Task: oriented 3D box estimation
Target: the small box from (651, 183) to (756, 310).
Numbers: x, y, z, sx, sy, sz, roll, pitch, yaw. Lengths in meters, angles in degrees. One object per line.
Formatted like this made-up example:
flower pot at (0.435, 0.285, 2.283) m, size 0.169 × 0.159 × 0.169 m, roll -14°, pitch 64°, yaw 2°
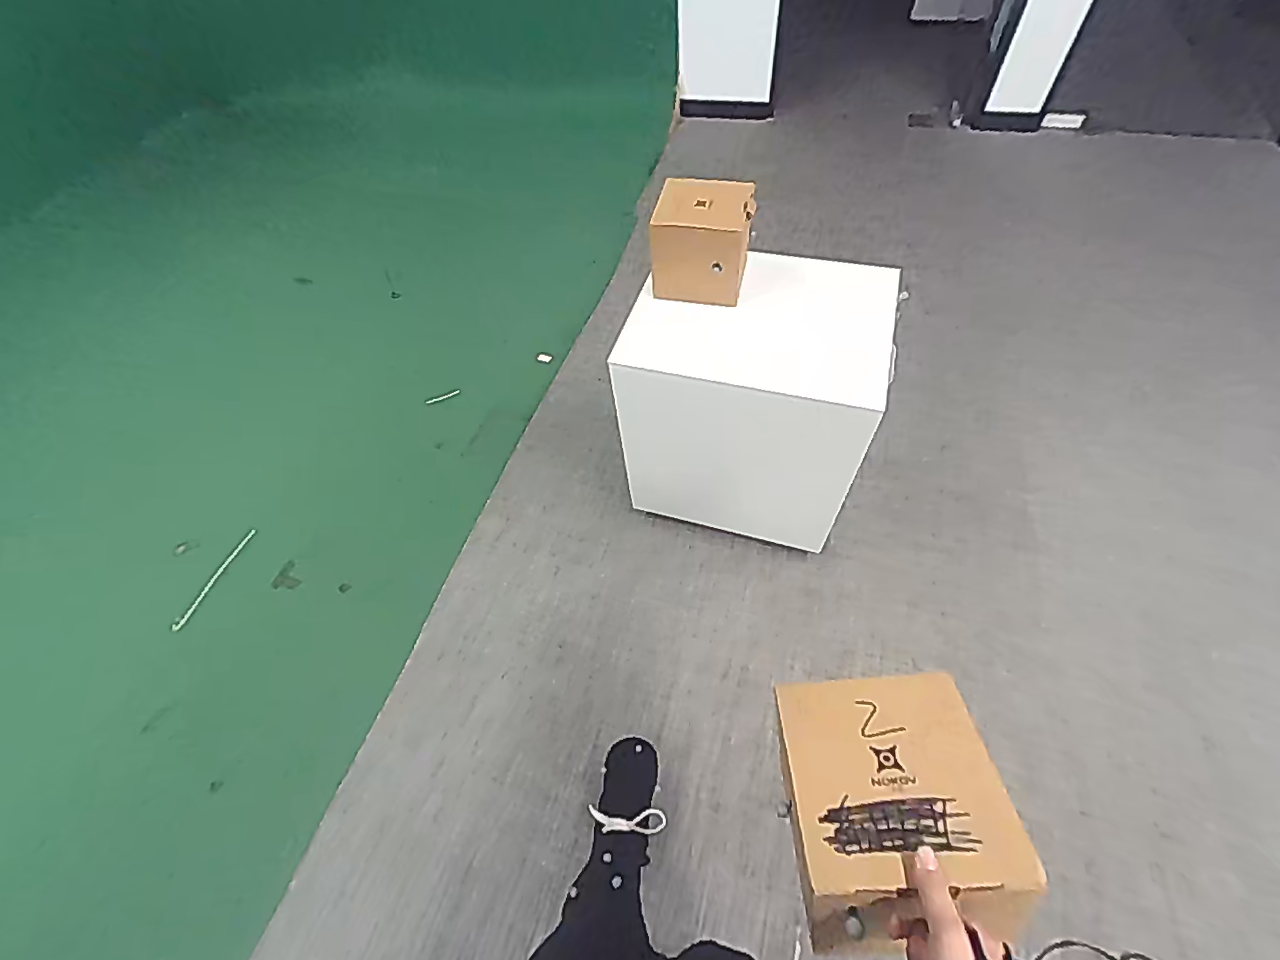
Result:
small box at (0.127, -0.462, 1.081) m, size 0.179 × 0.176 × 0.168 m, roll 9°, pitch 57°, yaw 11°
